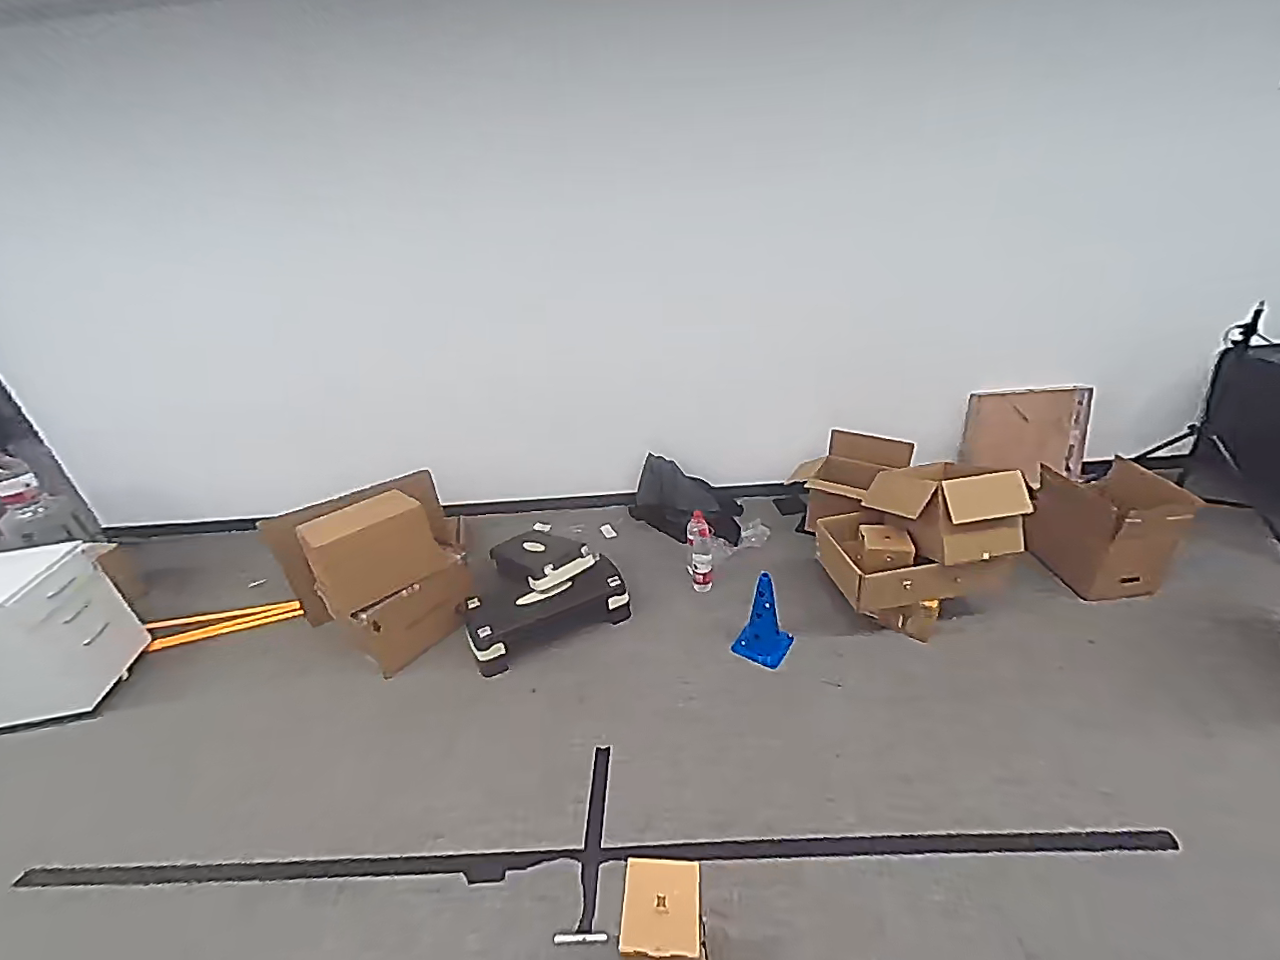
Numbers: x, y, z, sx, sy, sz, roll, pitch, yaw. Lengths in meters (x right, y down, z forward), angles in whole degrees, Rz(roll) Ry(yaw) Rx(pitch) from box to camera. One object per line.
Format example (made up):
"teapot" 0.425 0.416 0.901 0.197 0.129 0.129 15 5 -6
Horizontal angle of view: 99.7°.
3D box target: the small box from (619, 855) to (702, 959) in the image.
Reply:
"small box" 0.052 0.980 1.206 0.168 0.176 0.179 -1 31 7
